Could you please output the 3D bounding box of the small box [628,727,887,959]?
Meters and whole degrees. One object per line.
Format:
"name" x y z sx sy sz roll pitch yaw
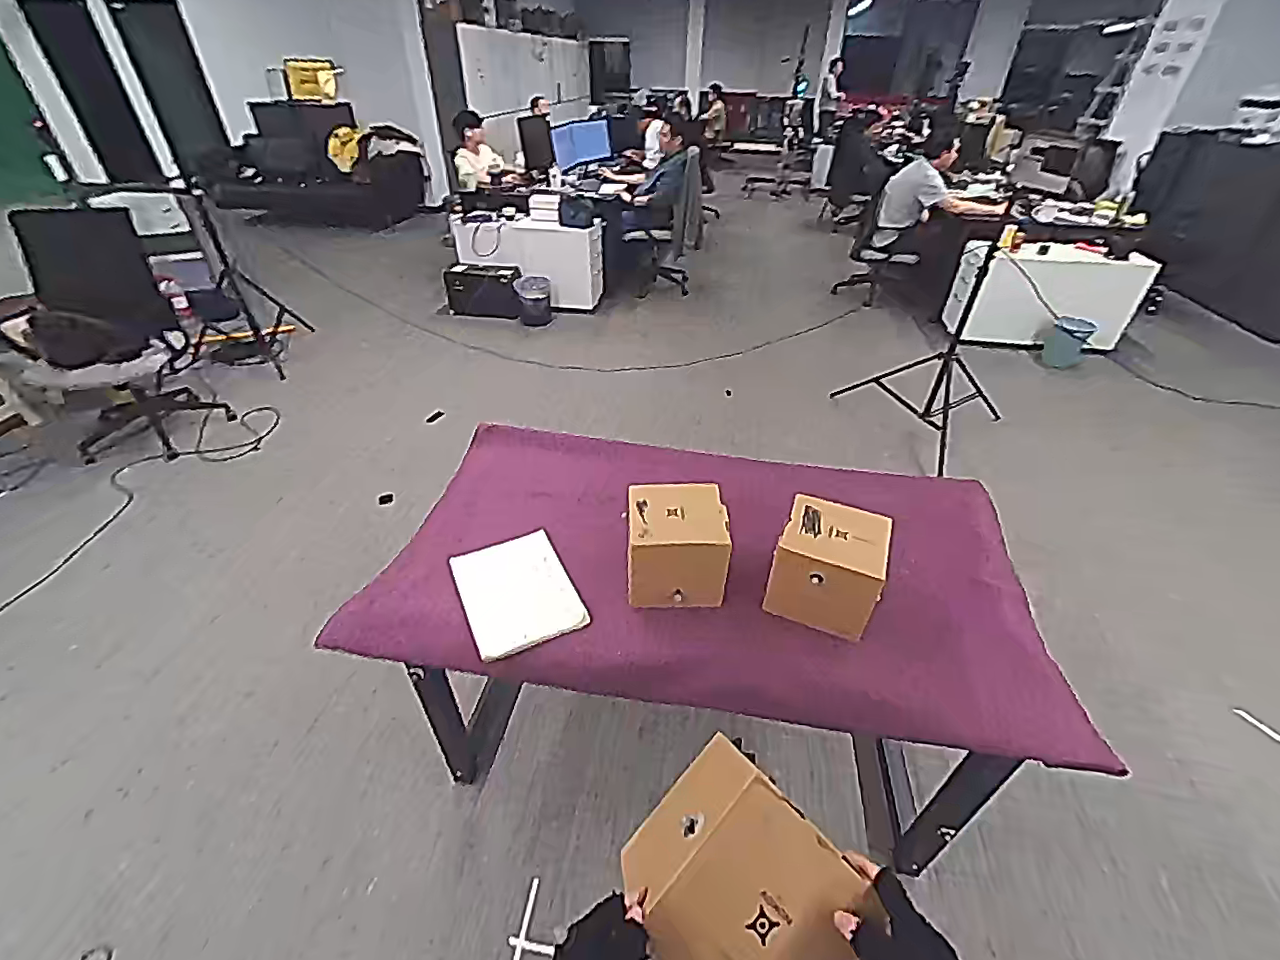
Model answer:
"small box" 0.100 0.385 0.550 0.168 0.176 0.179 43 77 7

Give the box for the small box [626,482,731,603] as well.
"small box" 0.064 0.120 1.030 0.179 0.176 0.168 0 37 -3

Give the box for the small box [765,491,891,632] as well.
"small box" 0.340 0.149 0.993 0.179 0.176 0.168 16 39 19
